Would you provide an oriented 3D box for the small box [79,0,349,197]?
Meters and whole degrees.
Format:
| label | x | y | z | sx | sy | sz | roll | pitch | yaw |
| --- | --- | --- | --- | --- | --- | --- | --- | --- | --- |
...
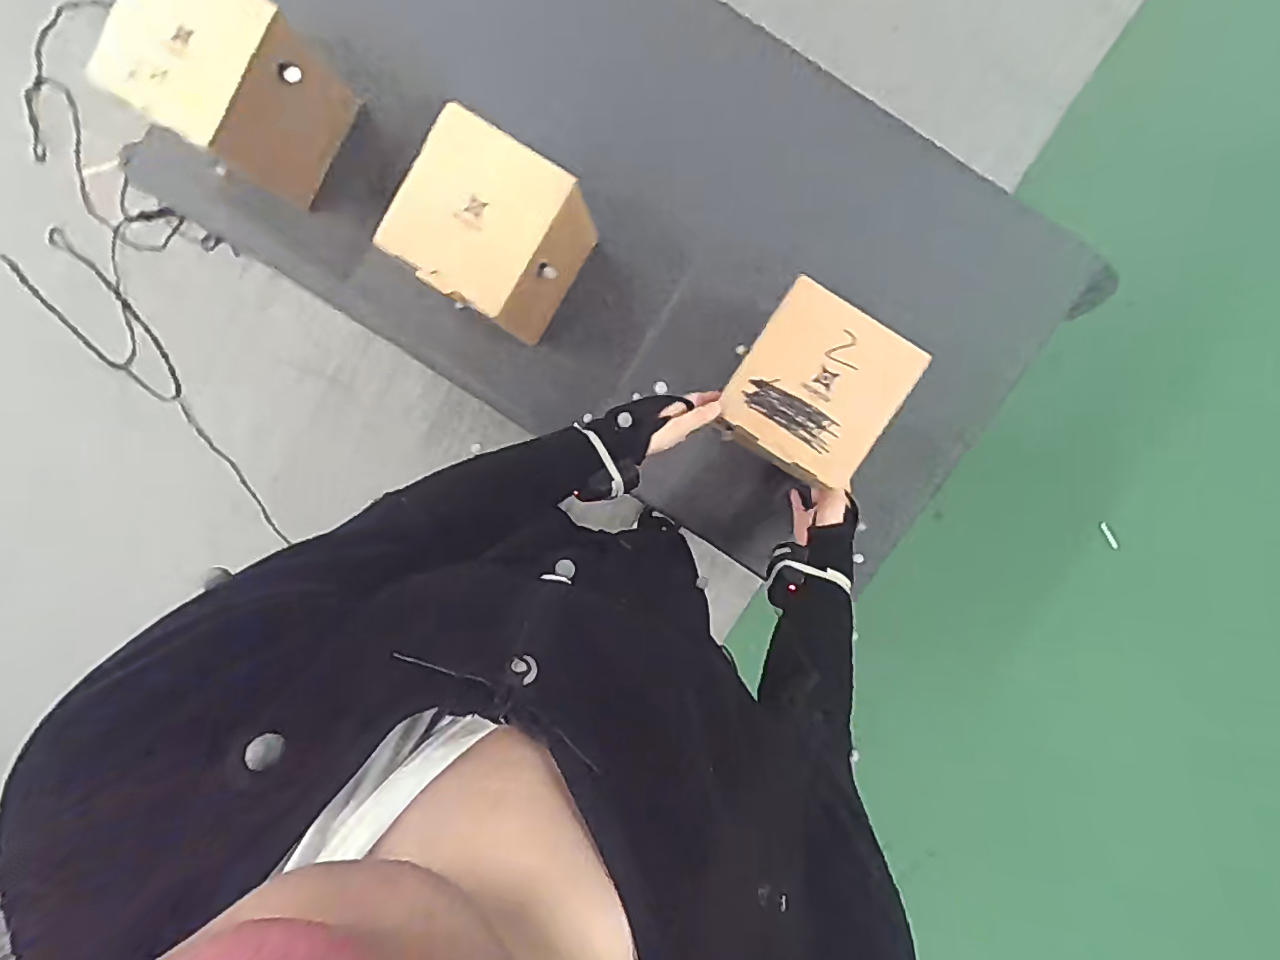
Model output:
| label | x | y | z | sx | sy | sz | roll | pitch | yaw |
| --- | --- | --- | --- | --- | --- | --- | --- | --- | --- |
| small box | -0.498 | -0.495 | 0.663 | 0.168 | 0.176 | 0.179 | 32 | 96 | 0 |

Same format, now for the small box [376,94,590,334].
| label | x | y | z | sx | sy | sz | roll | pitch | yaw |
| --- | --- | --- | --- | --- | --- | --- | --- | --- | --- |
| small box | -0.175 | -0.306 | 0.665 | 0.168 | 0.176 | 0.179 | 32 | 96 | 0 |
